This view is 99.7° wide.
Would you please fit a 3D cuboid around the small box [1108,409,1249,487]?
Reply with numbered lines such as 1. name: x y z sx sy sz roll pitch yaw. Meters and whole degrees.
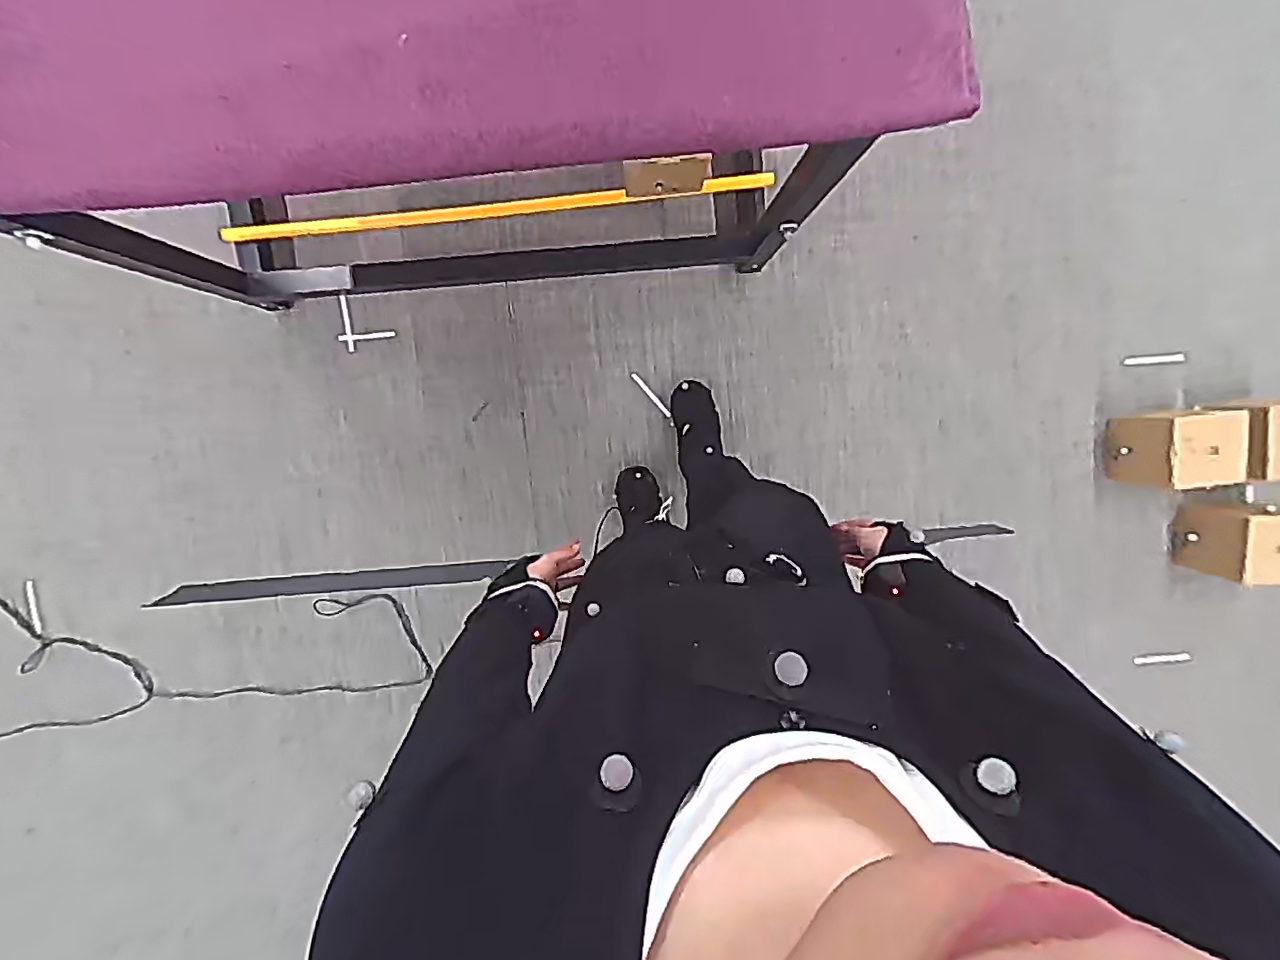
1. small box: 1.285 -0.083 1.300 0.179 0.176 0.168 -6 97 -1

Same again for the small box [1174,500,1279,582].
1. small box: 1.492 0.144 1.335 0.179 0.176 0.168 -3 97 0

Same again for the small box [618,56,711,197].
1. small box: 0.043 -0.693 1.077 0.168 0.176 0.179 -6 98 0
